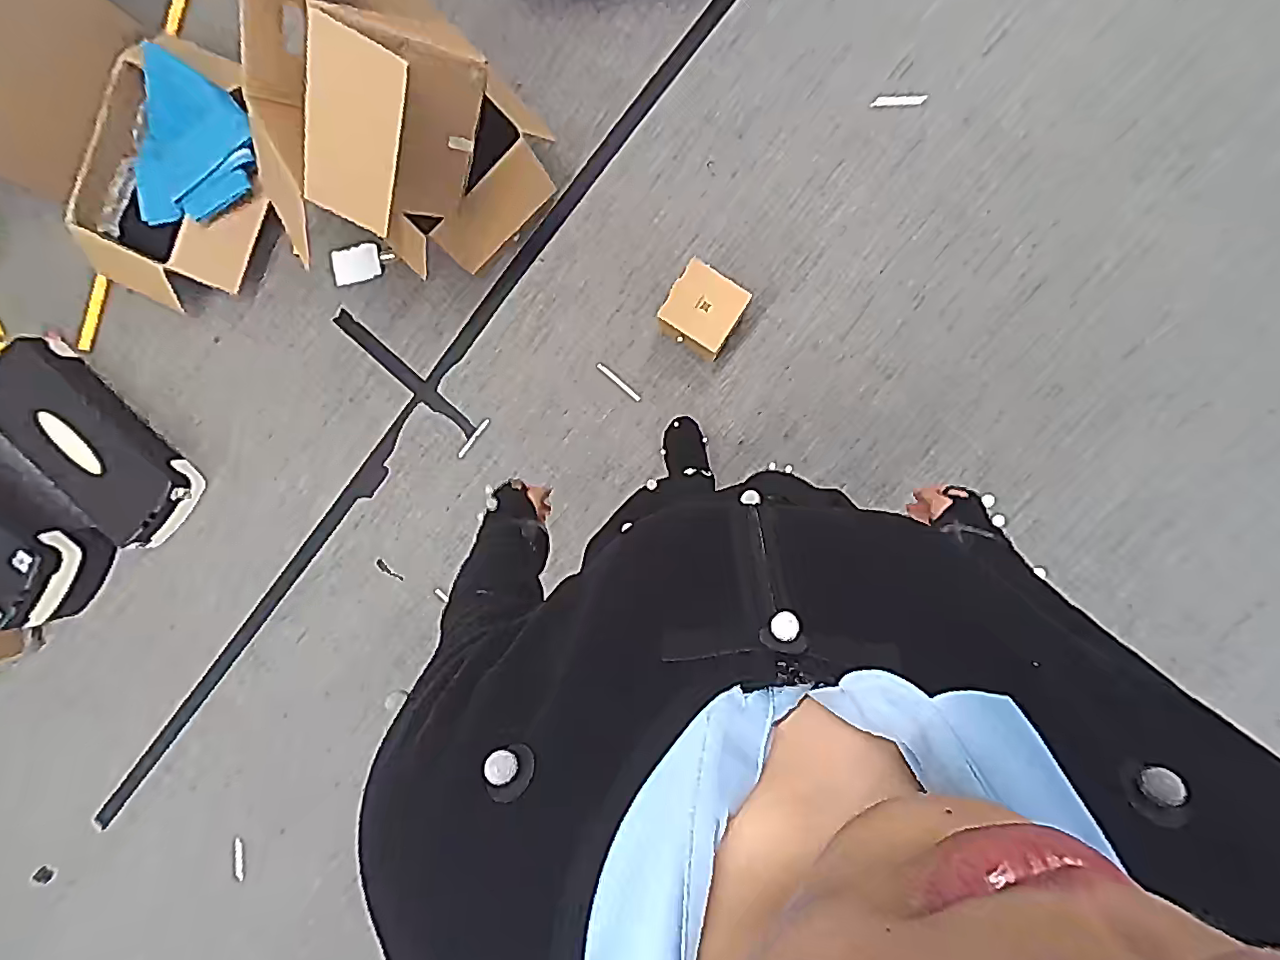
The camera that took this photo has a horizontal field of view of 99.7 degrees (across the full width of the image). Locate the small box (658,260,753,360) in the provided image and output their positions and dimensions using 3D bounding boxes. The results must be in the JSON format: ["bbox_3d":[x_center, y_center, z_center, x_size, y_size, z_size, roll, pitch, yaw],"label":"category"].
[{"bbox_3d":[0.165,-0.422,1.381,0.179,0.176,0.168,34,96,3],"label":"small box"}]
